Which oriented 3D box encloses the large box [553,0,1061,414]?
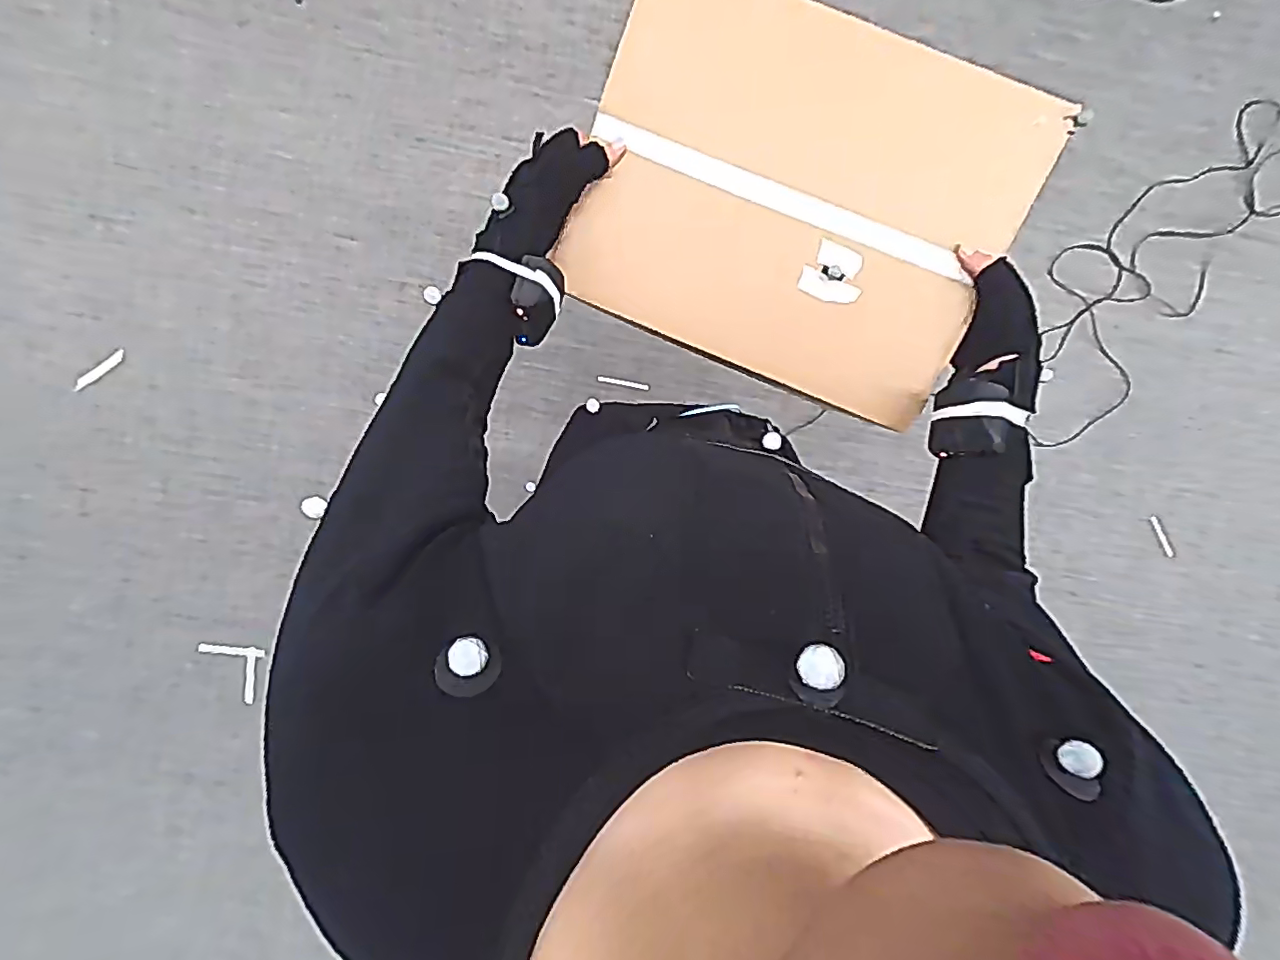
[{"bbox_3d":[0.157,-0.308,0.669,0.408,0.320,0.320,23,105,0],"label":"large box"}]
